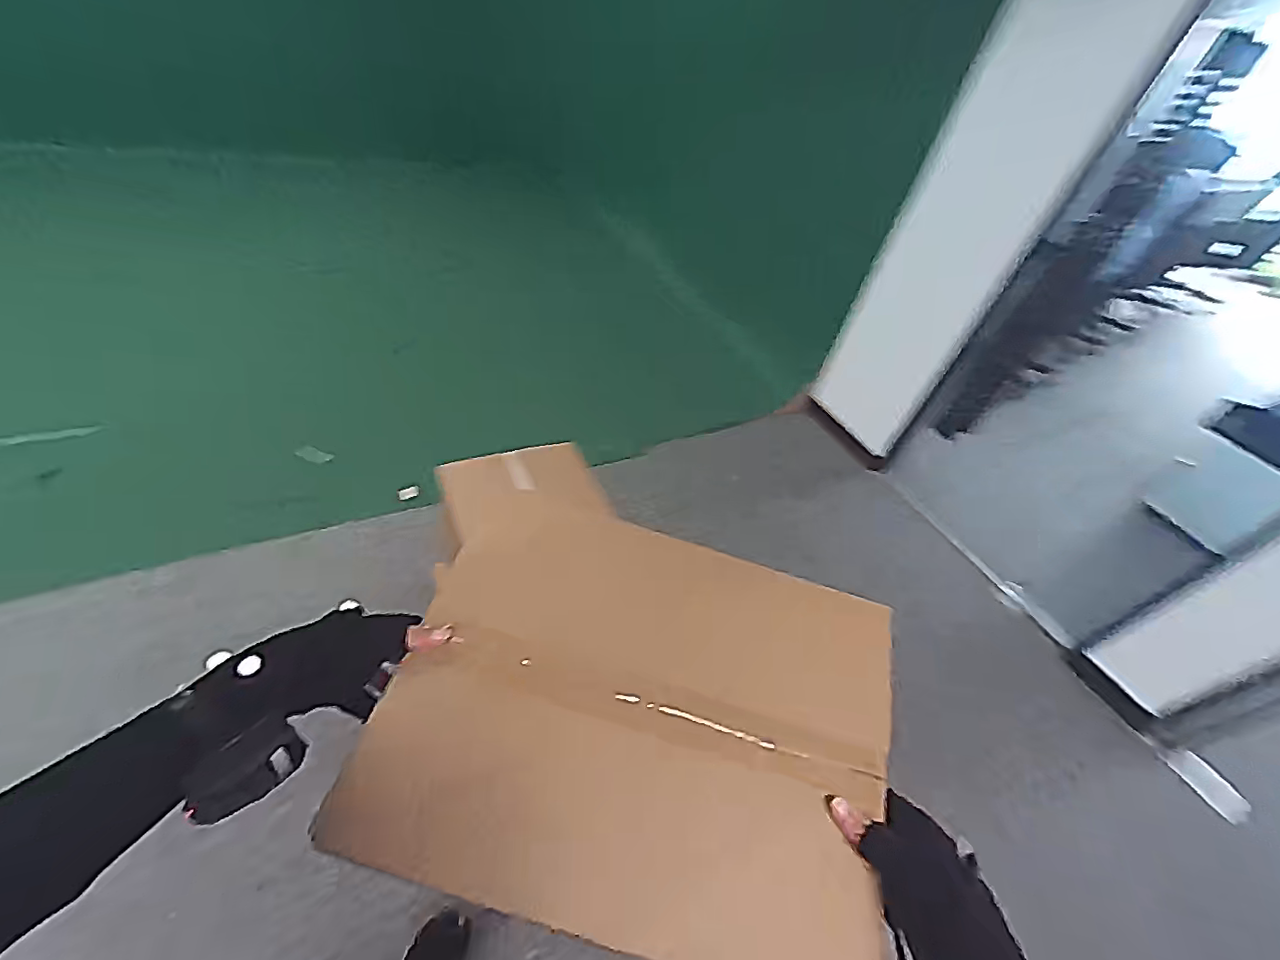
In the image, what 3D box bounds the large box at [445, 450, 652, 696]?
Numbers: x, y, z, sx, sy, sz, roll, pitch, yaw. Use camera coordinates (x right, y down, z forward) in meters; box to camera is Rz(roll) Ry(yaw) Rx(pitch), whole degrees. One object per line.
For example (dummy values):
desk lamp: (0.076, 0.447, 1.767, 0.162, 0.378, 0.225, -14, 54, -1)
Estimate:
large box: (-0.232, 0.191, 1.208, 0.320, 0.320, 0.408, -11, 50, -28)
